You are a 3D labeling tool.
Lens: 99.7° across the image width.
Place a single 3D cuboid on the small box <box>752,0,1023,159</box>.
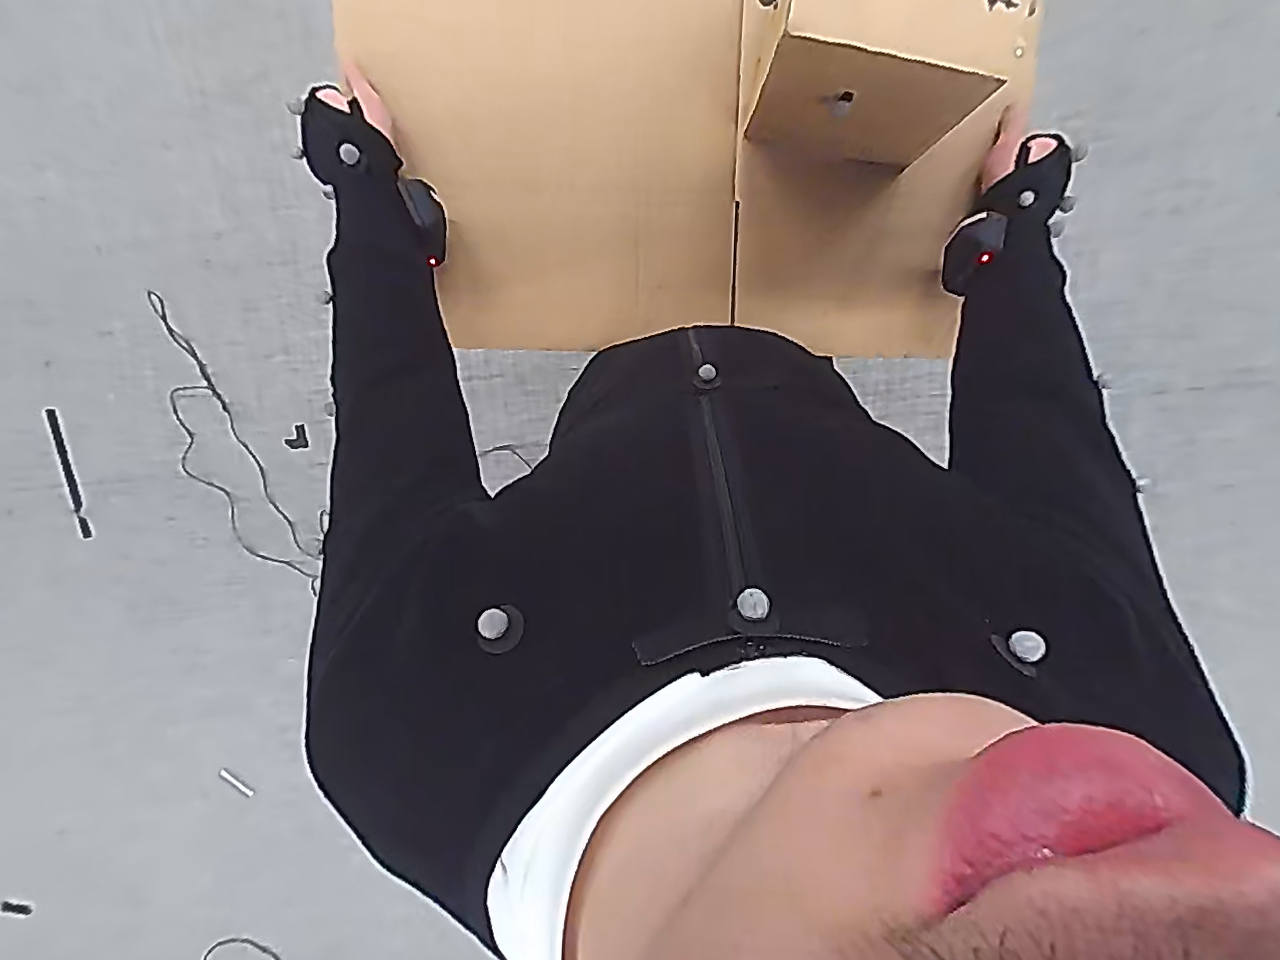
[{"bbox_3d":[0.208,-0.412,0.476,0.179,0.176,0.168,11,100,0],"label":"small box"}]
